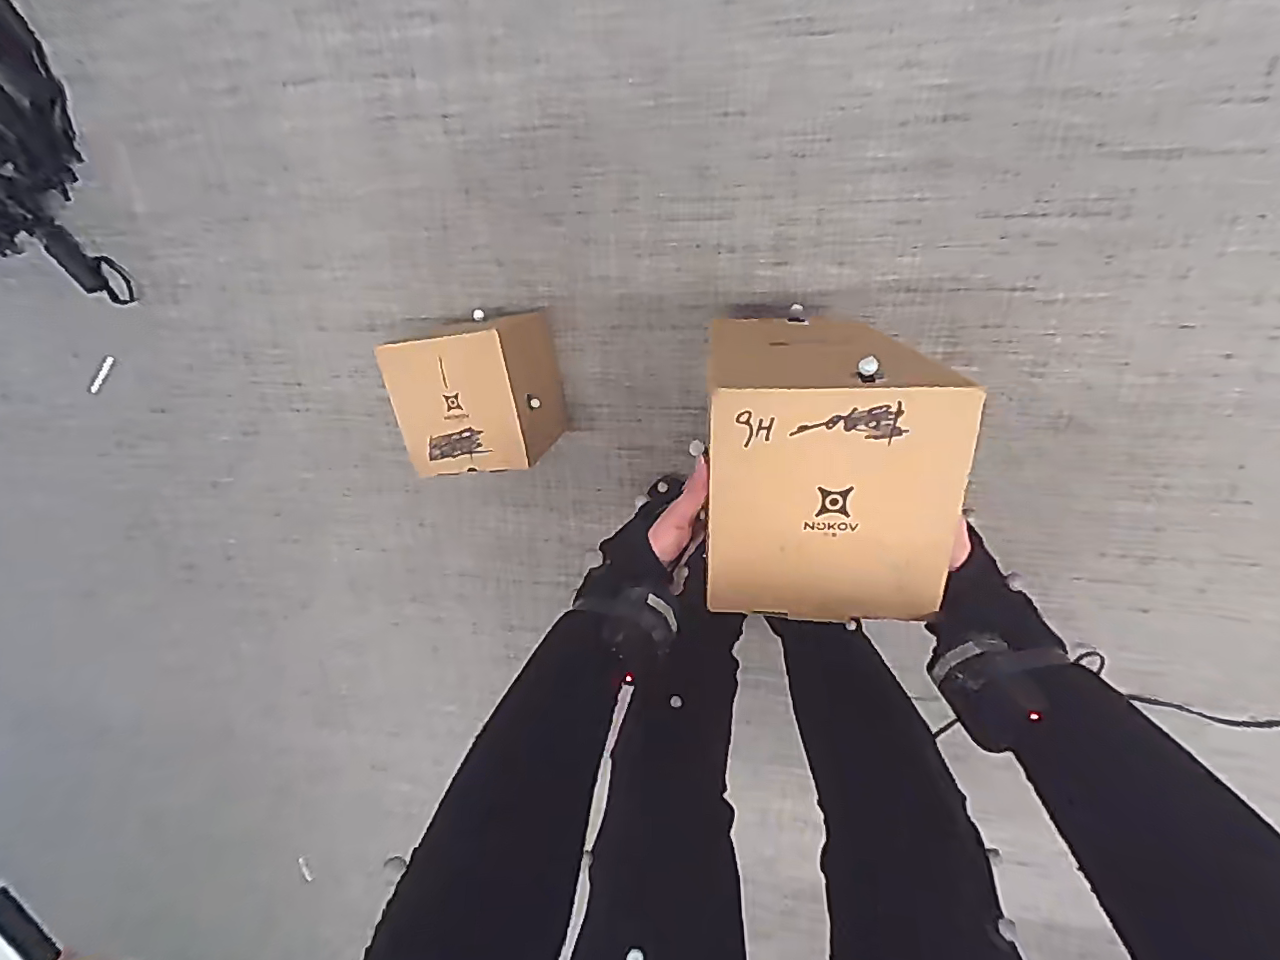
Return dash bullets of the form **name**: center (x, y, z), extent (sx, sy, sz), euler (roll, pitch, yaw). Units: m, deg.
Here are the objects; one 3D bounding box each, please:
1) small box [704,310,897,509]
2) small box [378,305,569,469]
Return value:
- **small box**: center (0.157, -0.084, 0.586), extent (0.168, 0.176, 0.179), euler (1, 113, 7)
- **small box**: center (-0.208, -0.129, 0.732), extent (0.168, 0.176, 0.179), euler (-3, 113, 13)
